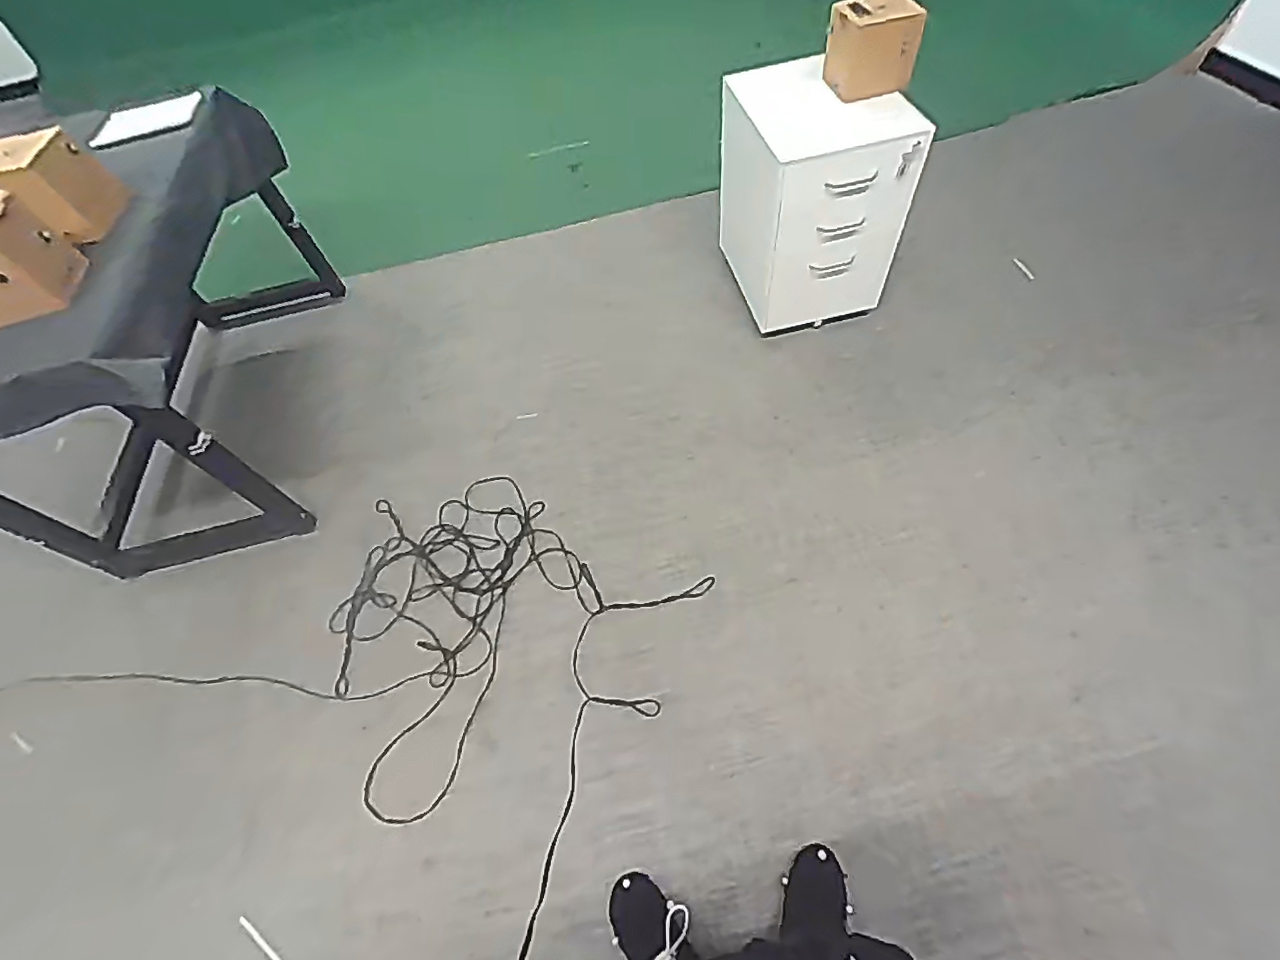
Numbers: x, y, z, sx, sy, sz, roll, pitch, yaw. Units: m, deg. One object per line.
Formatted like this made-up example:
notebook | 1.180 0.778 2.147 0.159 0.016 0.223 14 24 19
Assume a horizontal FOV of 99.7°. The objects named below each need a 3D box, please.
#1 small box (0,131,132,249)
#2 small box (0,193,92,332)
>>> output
small box | -1.300 -0.632 1.202 0.168 0.176 0.179 -11 56 1
small box | -1.251 -0.420 1.060 0.179 0.176 0.168 -19 56 -3
